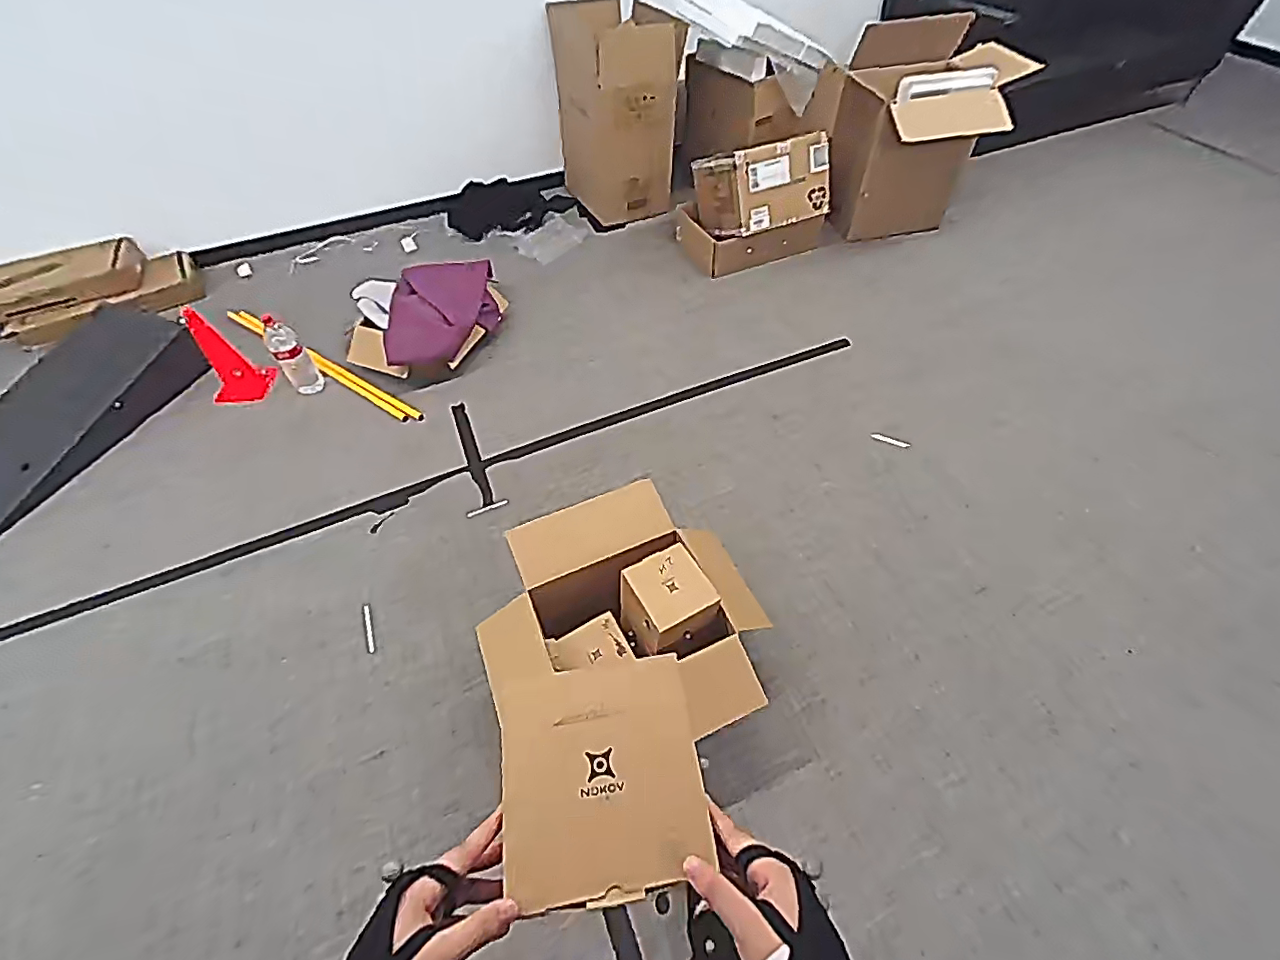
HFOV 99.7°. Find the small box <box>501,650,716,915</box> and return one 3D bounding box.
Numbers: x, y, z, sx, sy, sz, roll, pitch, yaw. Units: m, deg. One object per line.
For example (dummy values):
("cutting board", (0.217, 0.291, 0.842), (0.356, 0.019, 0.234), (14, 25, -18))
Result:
("small box", (-0.033, 0.288, 0.518), (0.168, 0.176, 0.179), (-8, 52, -7))

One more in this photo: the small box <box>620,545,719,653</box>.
("small box", (0.065, 0.293, 1.290), (0.168, 0.176, 0.179), (-23, 56, -20))
